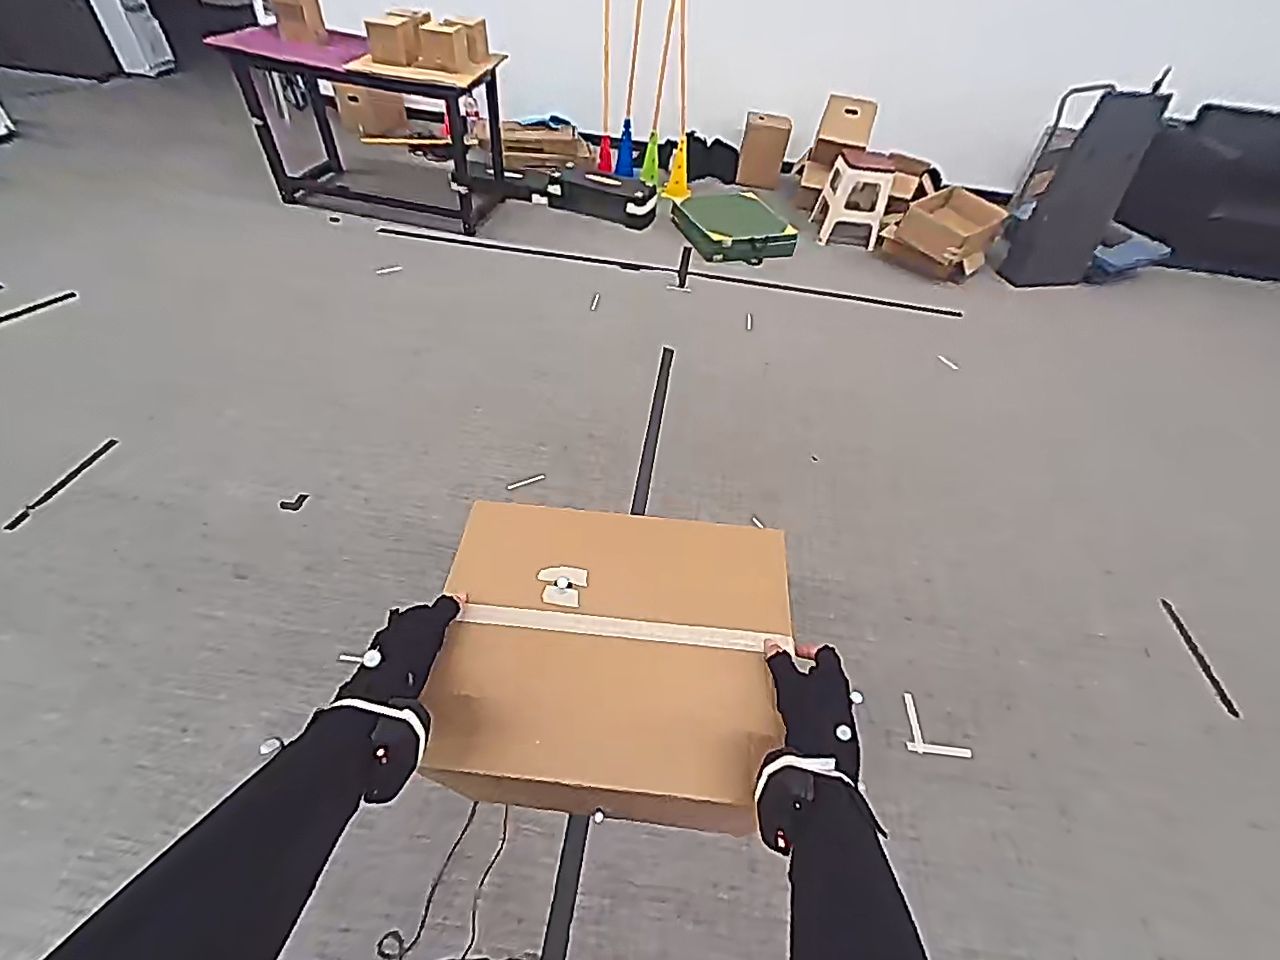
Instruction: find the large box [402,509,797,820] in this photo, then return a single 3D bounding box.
[{"bbox_3d":[-0.030,0.262,0.742,0.408,0.320,0.320,5,53,3],"label":"large box"}]
